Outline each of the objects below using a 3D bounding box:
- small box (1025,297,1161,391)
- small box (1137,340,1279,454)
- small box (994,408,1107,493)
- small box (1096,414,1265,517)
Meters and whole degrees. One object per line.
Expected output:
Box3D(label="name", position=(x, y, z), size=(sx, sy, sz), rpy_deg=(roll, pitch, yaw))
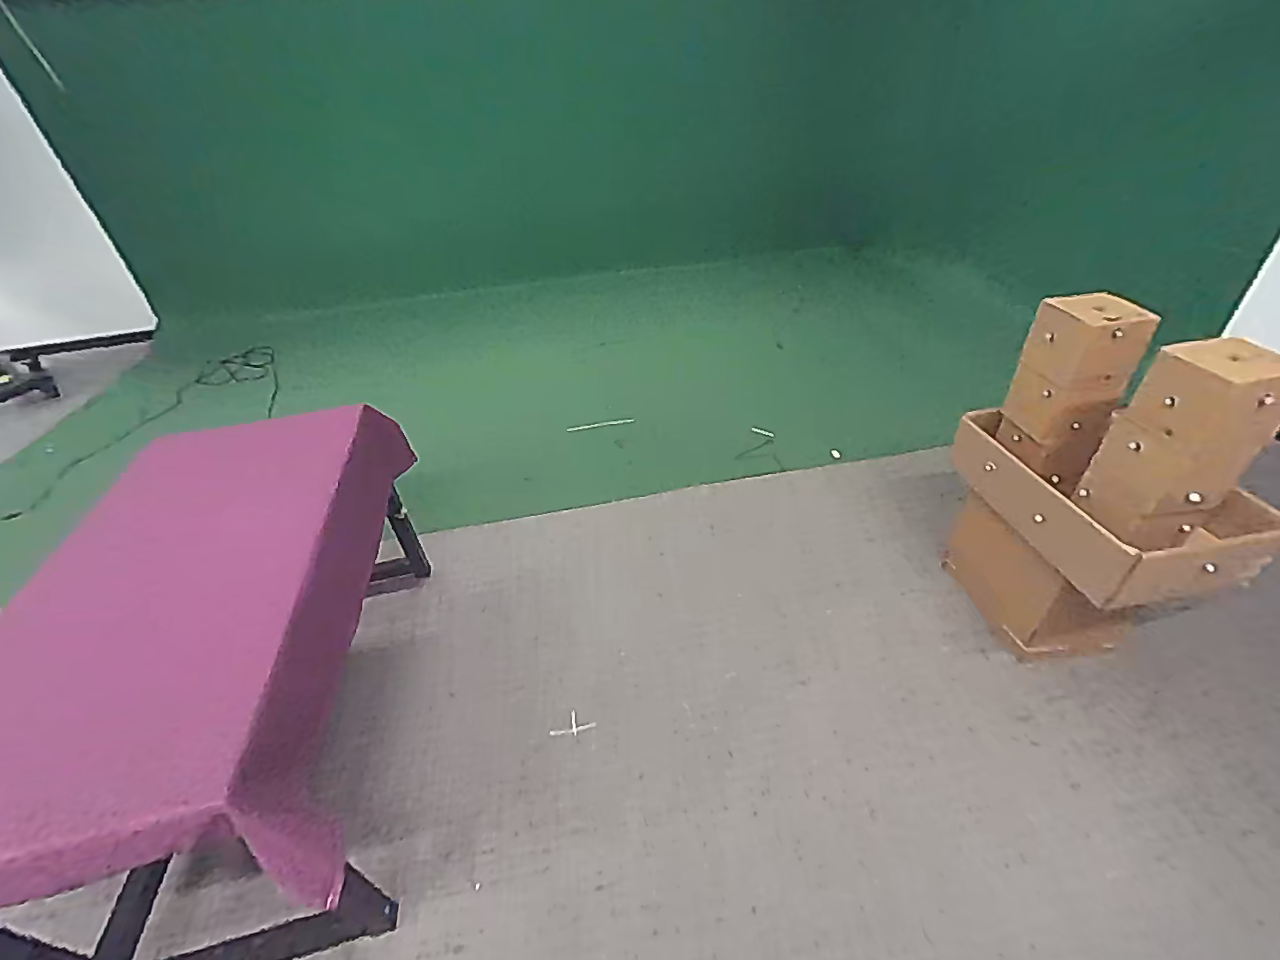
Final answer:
Box3D(label="small box", position=(1.110, -0.339, 1.346), size=(0.168, 0.176, 0.179), rpy_deg=(-8, 37, -1))
Box3D(label="small box", position=(1.176, -0.166, 1.101), size=(0.179, 0.176, 0.168), rpy_deg=(-8, 38, -3))
Box3D(label="small box", position=(1.158, -0.085, 1.545), size=(0.168, 0.176, 0.179), rpy_deg=(-8, 38, -2))
Box3D(label="small box", position=(1.183, -0.039, 1.206), size=(0.168, 0.176, 0.179), rpy_deg=(-7, 38, -1))
